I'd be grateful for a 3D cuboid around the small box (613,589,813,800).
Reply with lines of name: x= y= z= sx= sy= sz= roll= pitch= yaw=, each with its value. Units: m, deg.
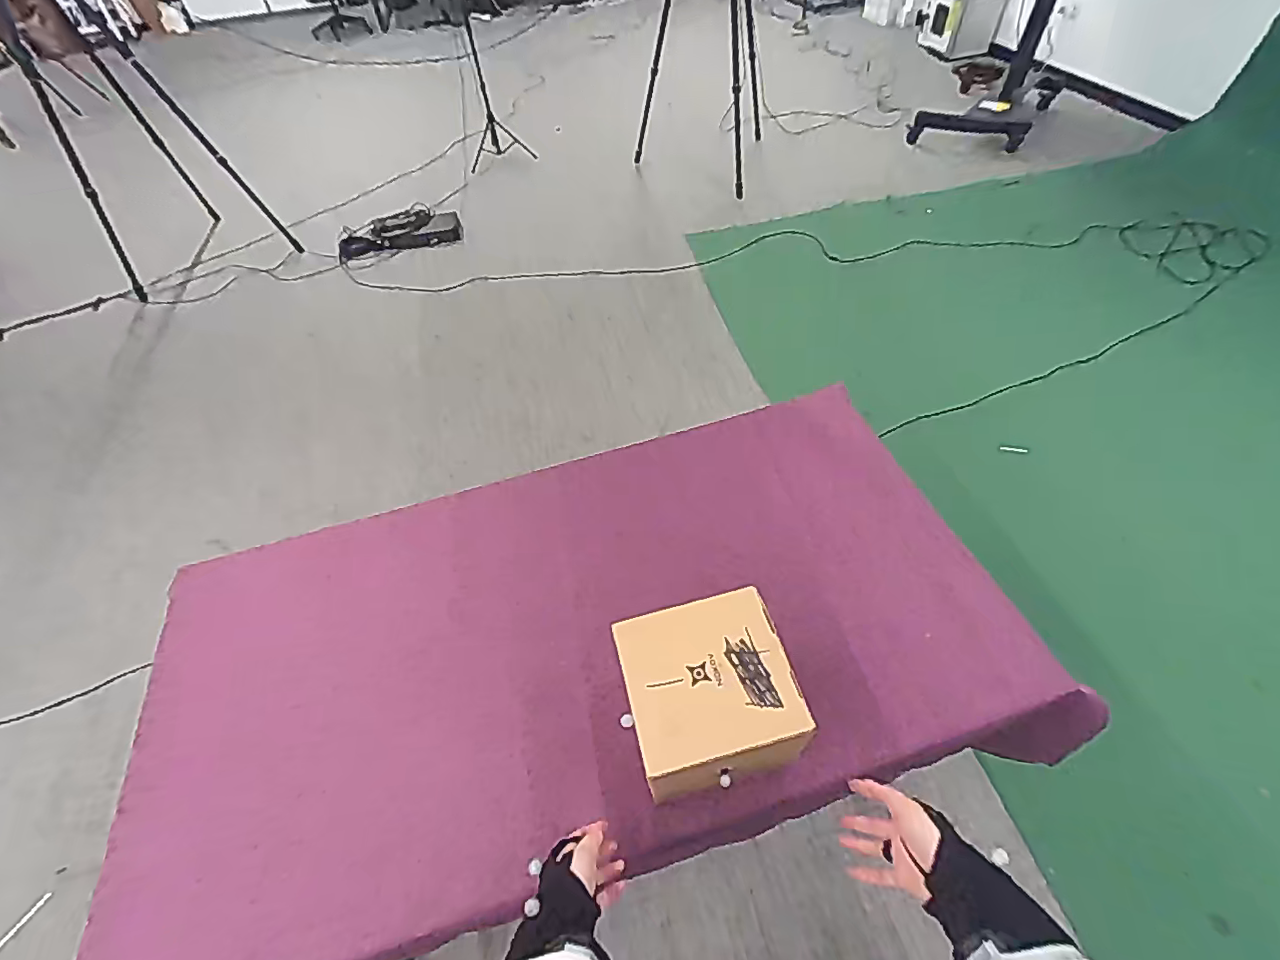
small box: x=0.076 y=0.255 z=0.636 sx=0.179 sy=0.176 sz=0.168 roll=-14 pitch=52 yaw=-5
